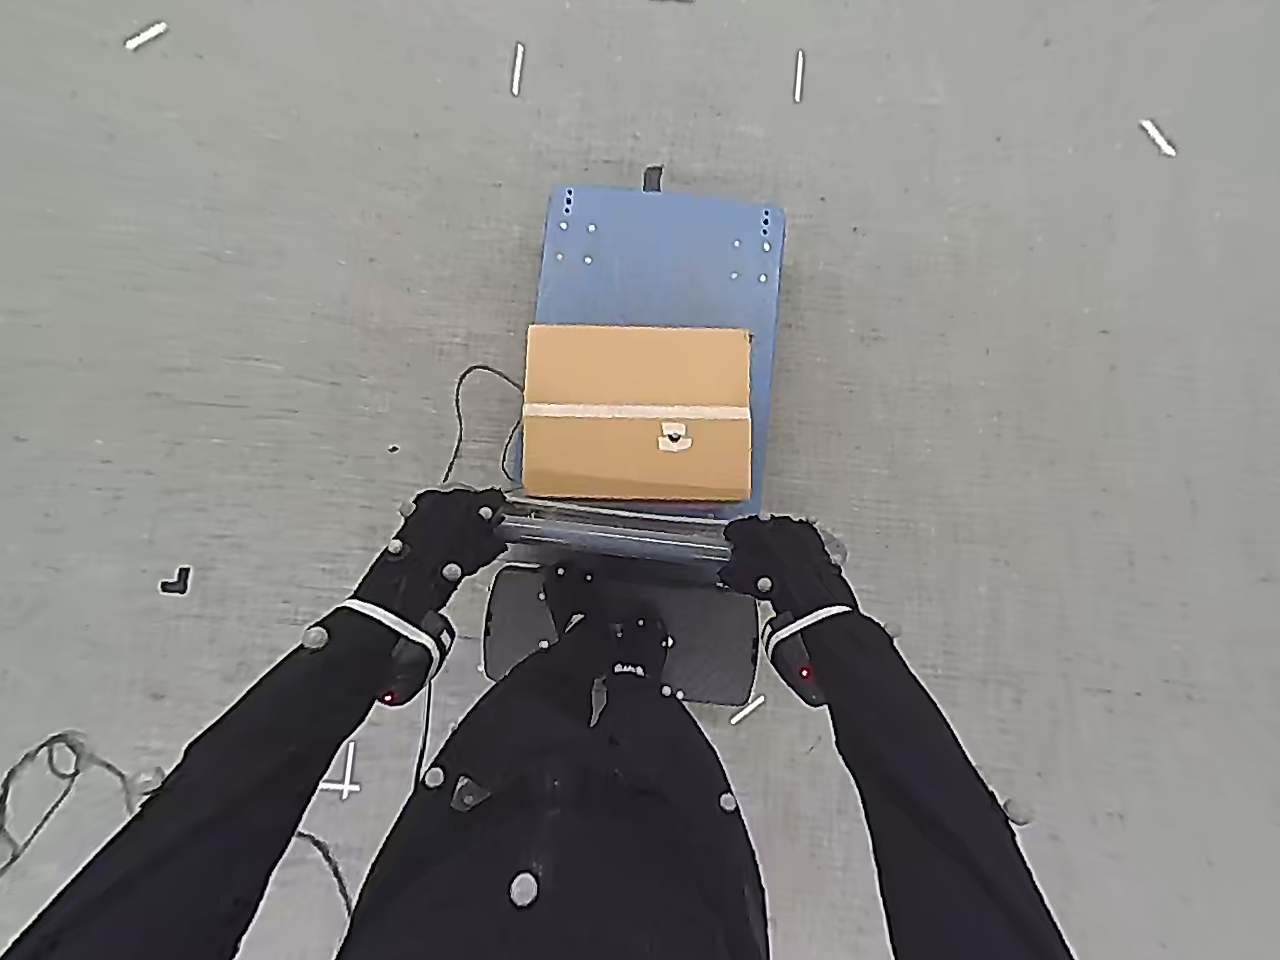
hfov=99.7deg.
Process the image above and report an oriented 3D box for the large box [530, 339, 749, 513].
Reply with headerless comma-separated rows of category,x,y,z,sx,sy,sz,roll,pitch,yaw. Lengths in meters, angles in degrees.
large box,-0.004,-0.091,1.135,0.408,0.320,0.320,1,85,-1
